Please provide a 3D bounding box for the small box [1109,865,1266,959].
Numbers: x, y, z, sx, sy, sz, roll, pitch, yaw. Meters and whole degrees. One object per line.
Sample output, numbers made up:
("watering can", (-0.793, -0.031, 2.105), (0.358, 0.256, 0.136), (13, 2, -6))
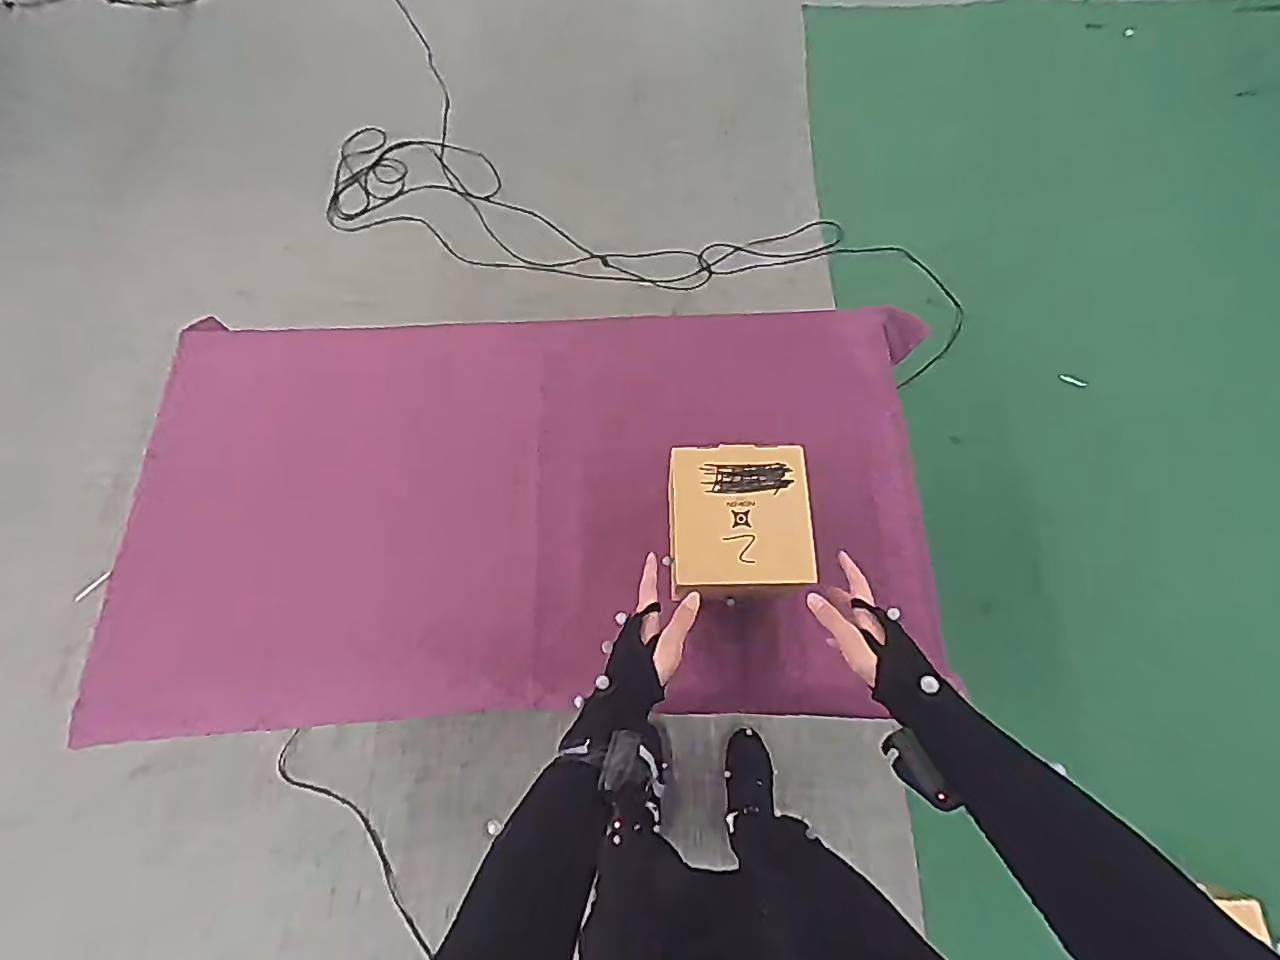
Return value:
("small box", (1.170, 0.959, 1.170), (0.179, 0.176, 0.168), (0, 71, 0))
